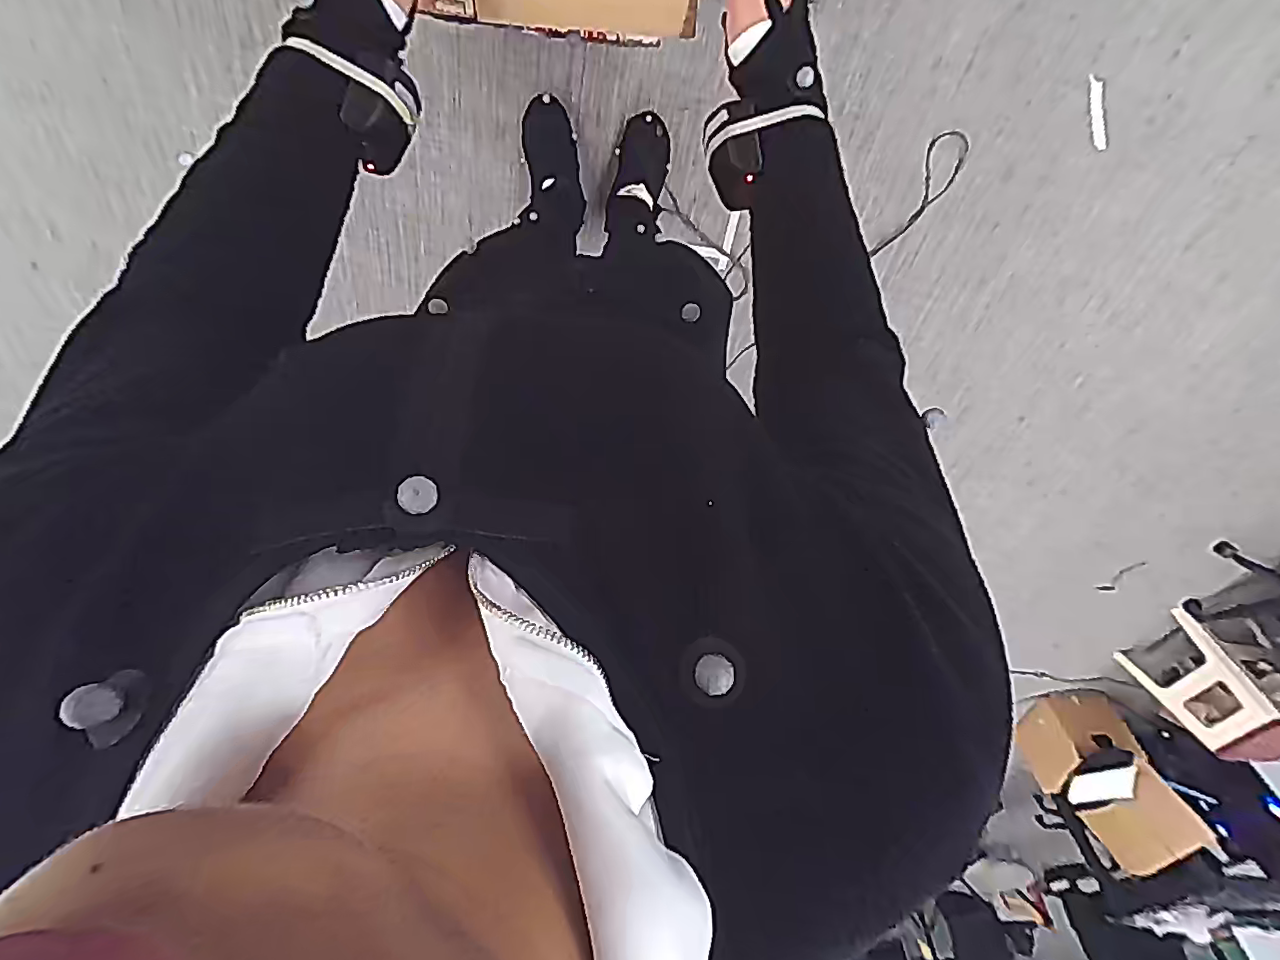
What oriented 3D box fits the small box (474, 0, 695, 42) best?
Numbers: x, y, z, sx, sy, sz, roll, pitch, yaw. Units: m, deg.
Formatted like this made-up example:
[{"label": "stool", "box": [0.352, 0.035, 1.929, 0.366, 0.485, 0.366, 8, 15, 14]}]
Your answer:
[{"label": "small box", "box": [-0.039, -0.476, 0.440, 0.179, 0.176, 0.168, 2, 134, -3]}]
